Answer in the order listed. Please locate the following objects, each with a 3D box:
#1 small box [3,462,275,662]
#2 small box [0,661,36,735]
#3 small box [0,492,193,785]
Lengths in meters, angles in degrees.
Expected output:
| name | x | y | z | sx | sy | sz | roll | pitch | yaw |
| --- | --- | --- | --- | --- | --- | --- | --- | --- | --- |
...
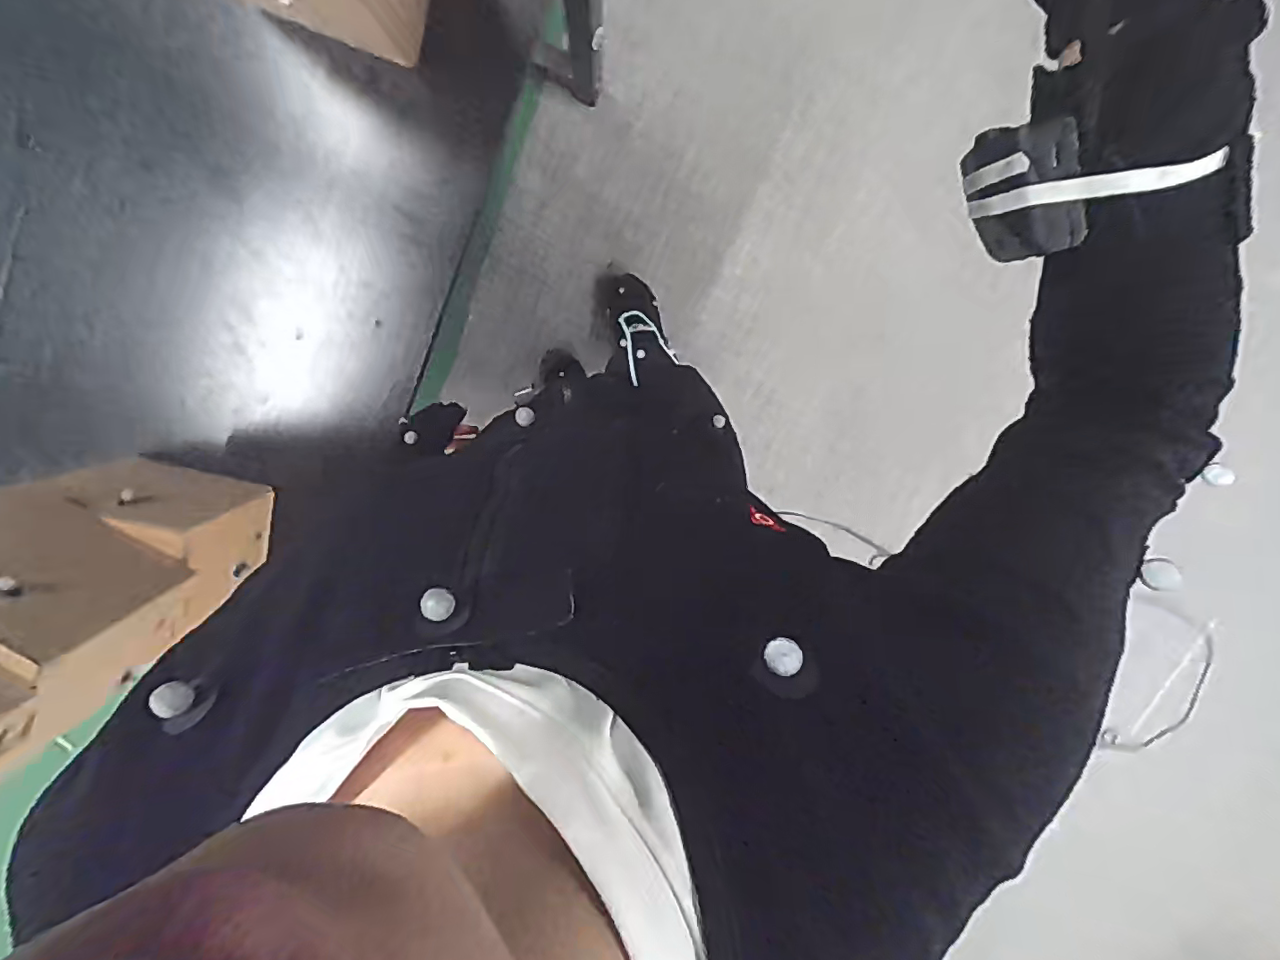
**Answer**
| name | x | y | z | sx | sy | sz | roll | pitch | yaw |
| --- | --- | --- | --- | --- | --- | --- | --- | --- | --- |
| small box | -0.584 | 0.086 | 0.649 | 0.179 | 0.176 | 0.168 | 14 | 104 | -9 |
| small box | -0.569 | 0.179 | 0.334 | 0.168 | 0.176 | 0.179 | -42 | 106 | 6 |
| small box | -0.574 | 0.134 | 0.492 | 0.179 | 0.176 | 0.168 | 35 | 100 | -12 |
